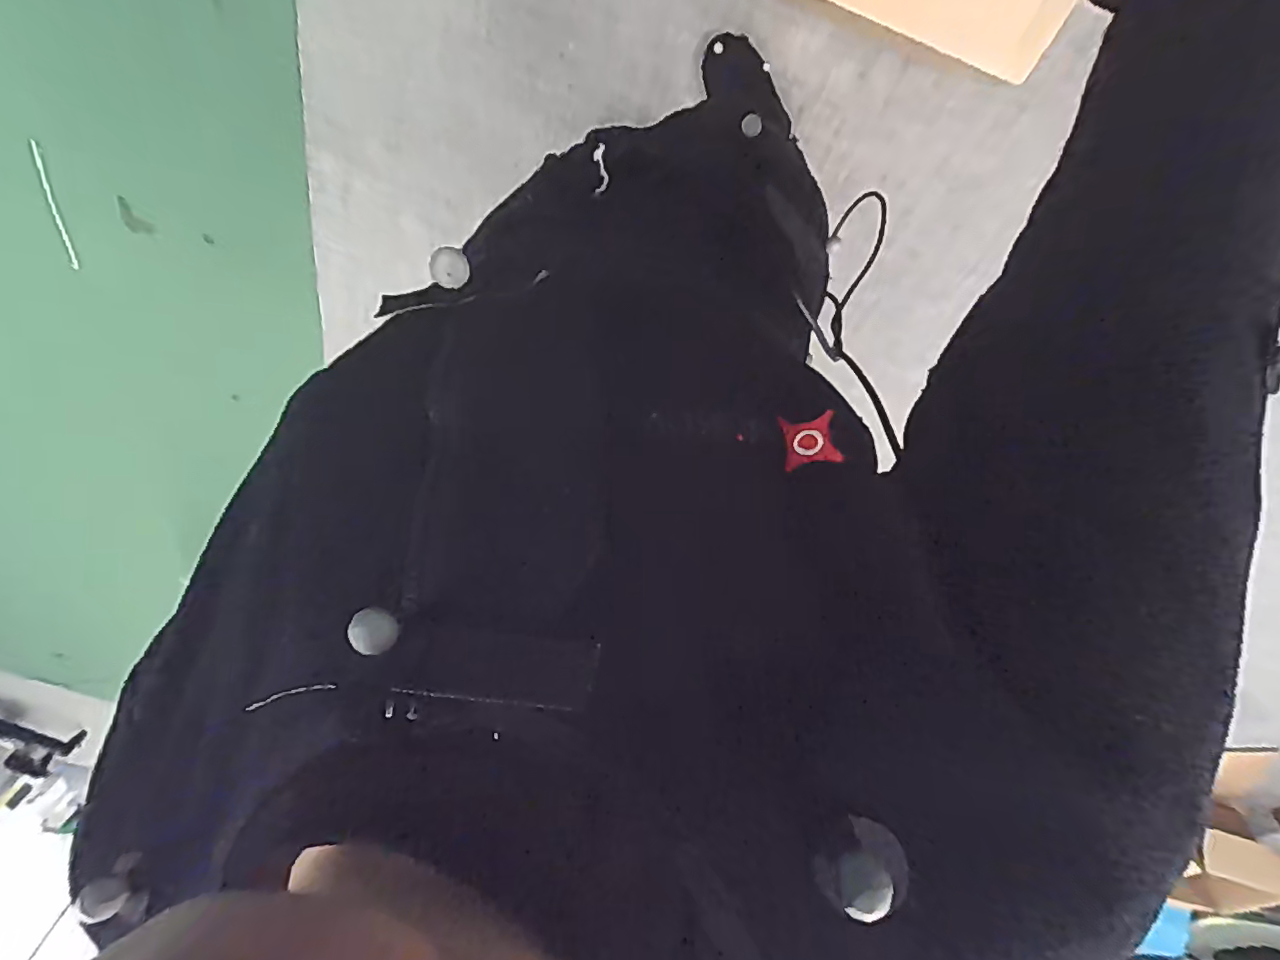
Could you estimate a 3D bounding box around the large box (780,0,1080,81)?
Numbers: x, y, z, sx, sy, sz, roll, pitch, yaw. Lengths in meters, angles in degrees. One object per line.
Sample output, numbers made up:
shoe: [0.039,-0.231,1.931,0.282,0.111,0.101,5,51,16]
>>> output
large box: [0.388,-0.787,0.713,0.408,0.320,0.320,18,131,-6]
